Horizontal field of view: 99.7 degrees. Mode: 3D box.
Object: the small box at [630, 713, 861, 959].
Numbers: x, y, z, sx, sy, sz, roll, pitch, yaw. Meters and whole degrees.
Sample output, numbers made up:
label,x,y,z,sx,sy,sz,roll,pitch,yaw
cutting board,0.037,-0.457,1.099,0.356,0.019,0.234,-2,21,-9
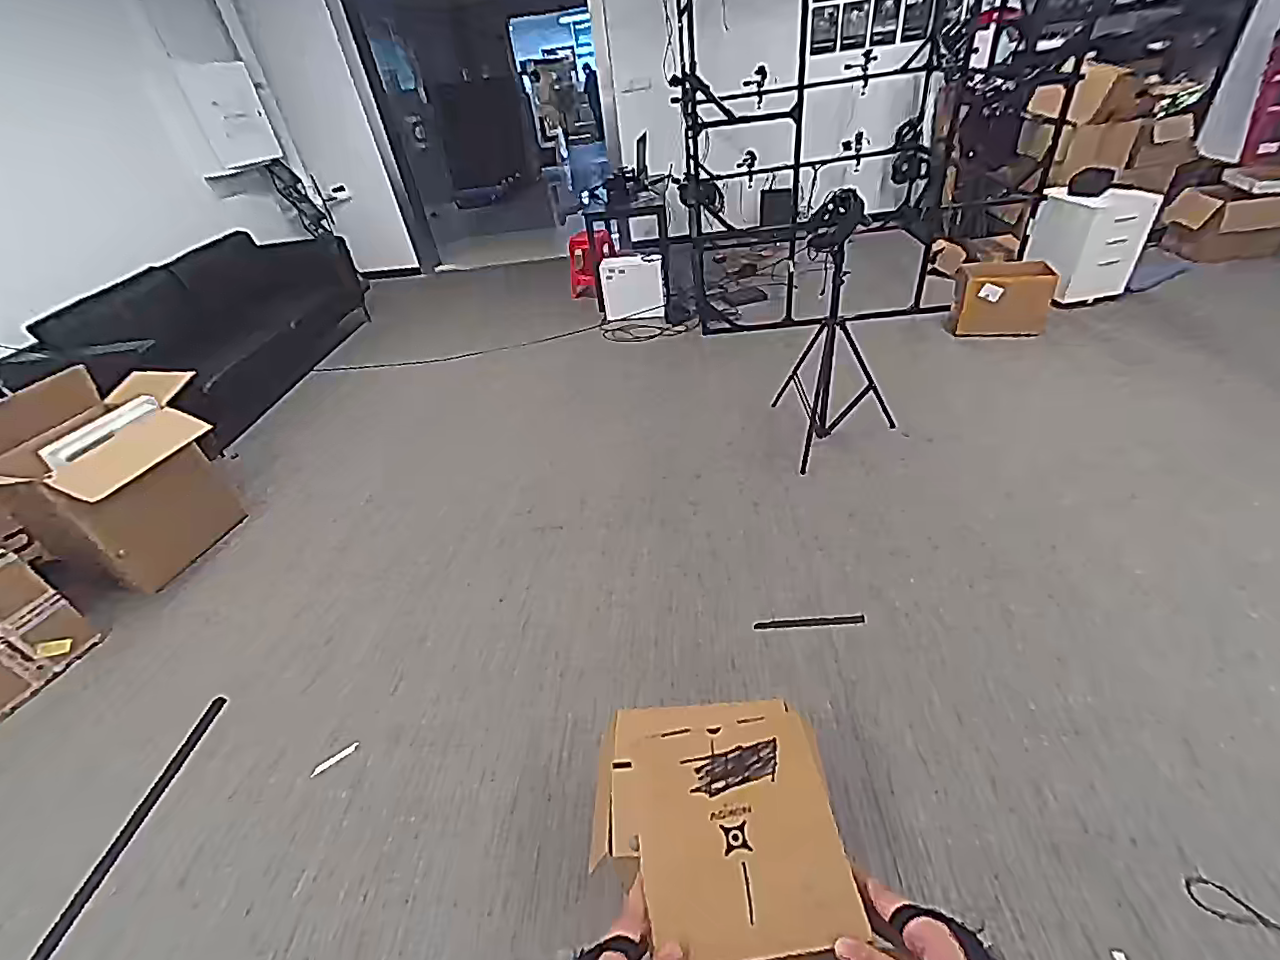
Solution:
label,x,y,z,sx,sy,sz,roll,pitch,yaw
small box,0.085,0.354,0.512,0.168,0.176,0.179,-9,40,1
